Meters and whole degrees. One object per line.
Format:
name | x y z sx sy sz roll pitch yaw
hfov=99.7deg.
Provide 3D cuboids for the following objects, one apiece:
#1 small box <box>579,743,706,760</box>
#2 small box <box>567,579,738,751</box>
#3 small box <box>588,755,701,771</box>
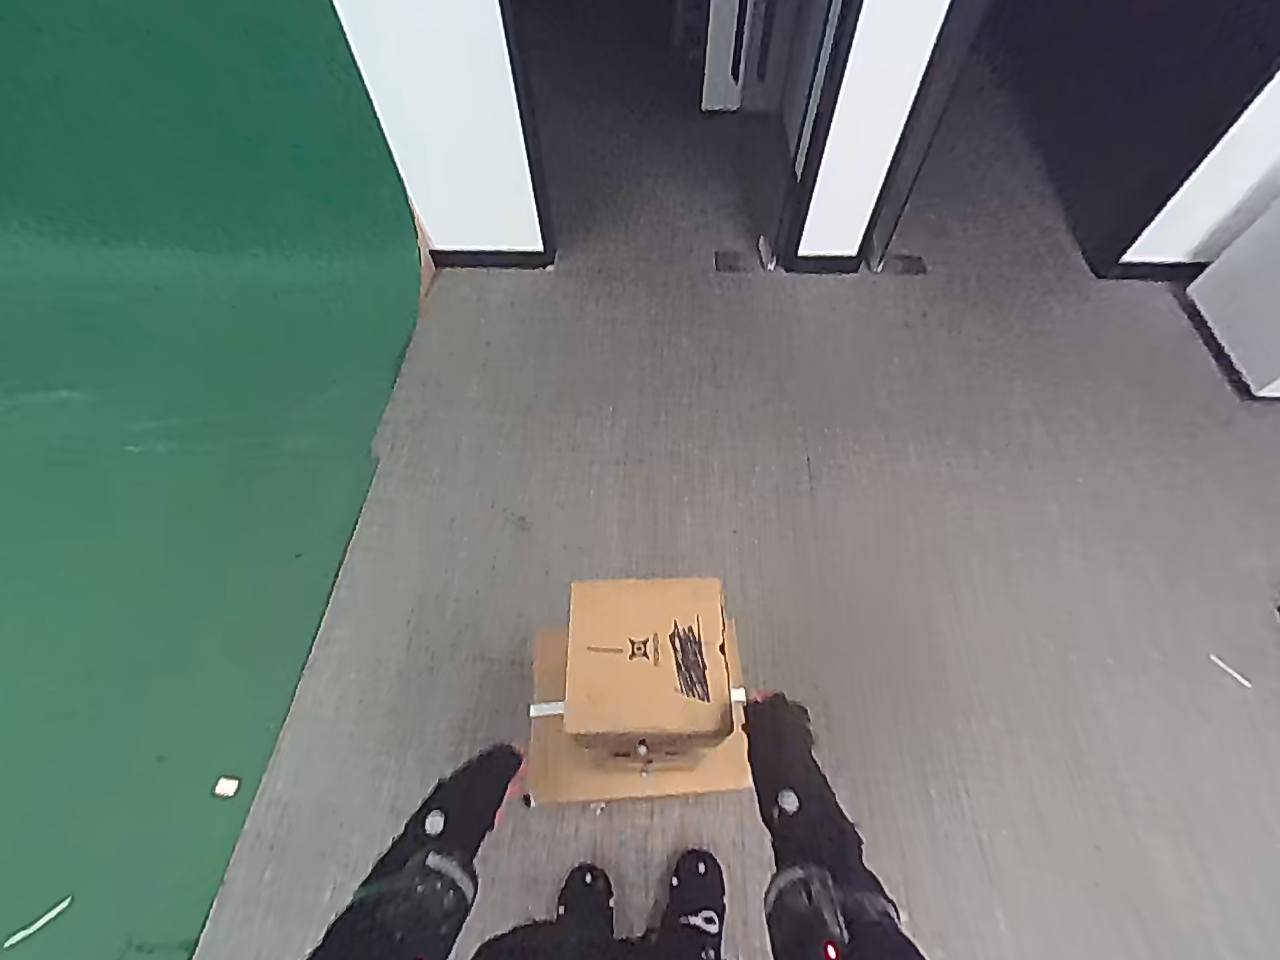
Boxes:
small box | 0.005 0.312 0.794 0.168 0.176 0.179 -2 60 0
small box | 0.008 0.228 0.653 0.179 0.176 0.168 -3 59 -2
small box | 0.006 0.402 0.931 0.179 0.176 0.168 -1 60 -1
